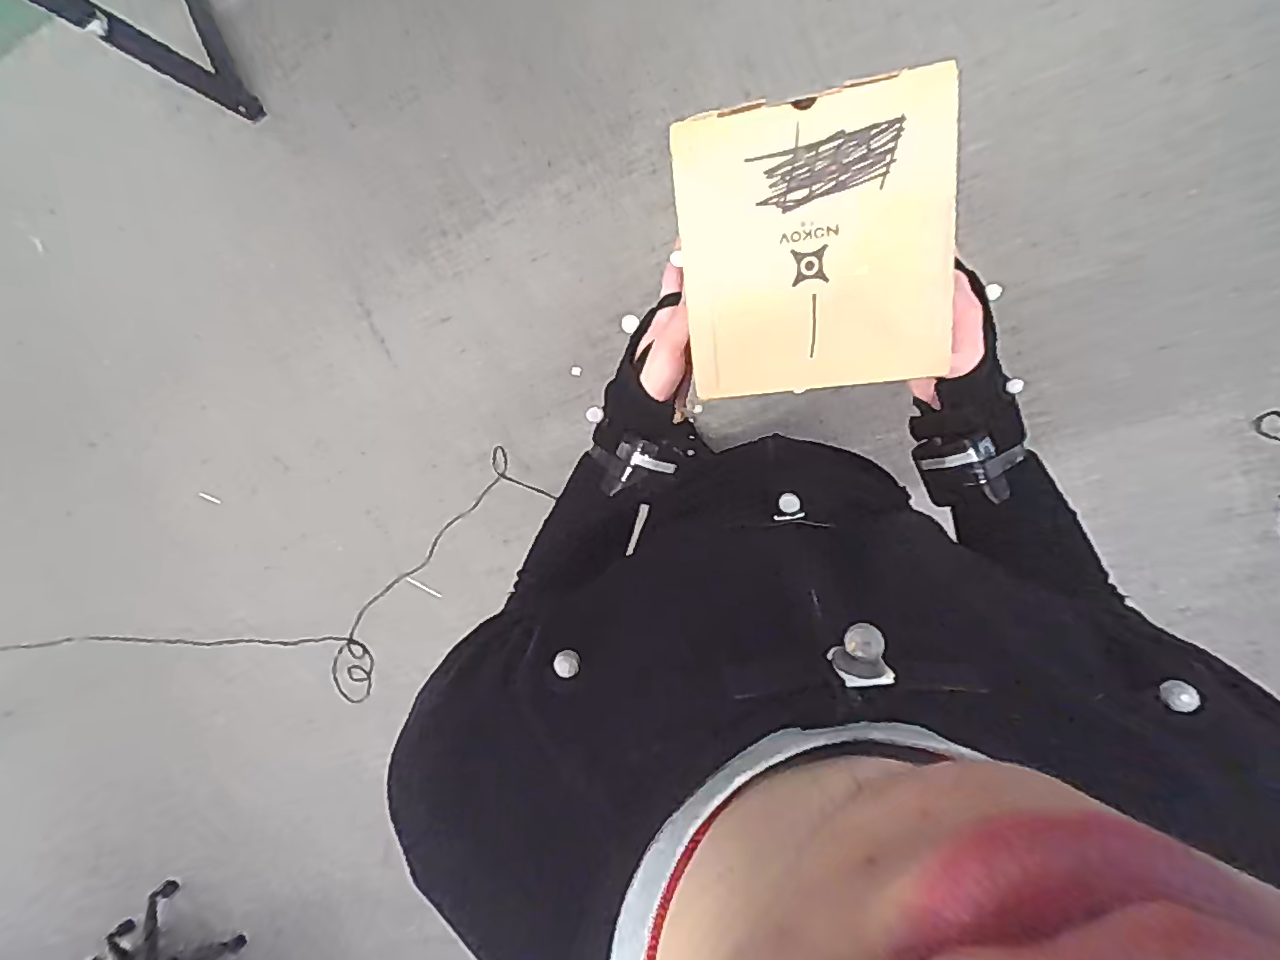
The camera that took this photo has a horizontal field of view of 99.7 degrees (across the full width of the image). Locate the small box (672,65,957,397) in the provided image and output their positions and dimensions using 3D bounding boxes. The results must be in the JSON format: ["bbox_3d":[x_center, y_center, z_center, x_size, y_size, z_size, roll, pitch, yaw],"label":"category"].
[{"bbox_3d":[0.124,-0.167,0.415,0.168,0.176,0.179,-3,107,15],"label":"small box"}]
